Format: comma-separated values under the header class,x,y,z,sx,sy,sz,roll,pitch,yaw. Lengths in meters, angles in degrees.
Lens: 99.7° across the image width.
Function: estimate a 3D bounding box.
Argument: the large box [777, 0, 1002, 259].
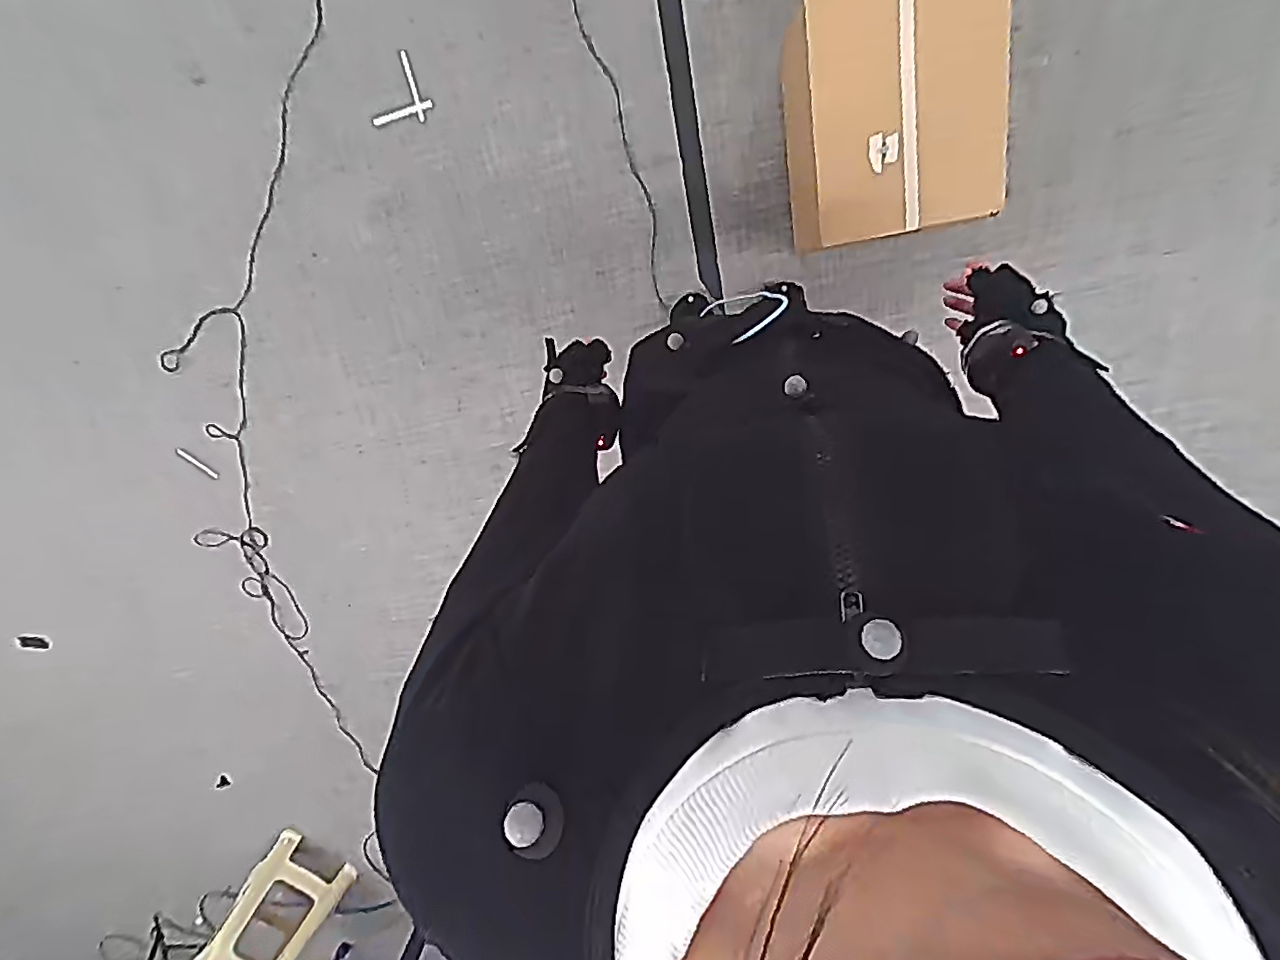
class,x,y,z,sx,sy,sz,roll,pitch,yaw
large box,0.466,-0.680,1.060,0.320,0.320,0.408,-8,109,10
